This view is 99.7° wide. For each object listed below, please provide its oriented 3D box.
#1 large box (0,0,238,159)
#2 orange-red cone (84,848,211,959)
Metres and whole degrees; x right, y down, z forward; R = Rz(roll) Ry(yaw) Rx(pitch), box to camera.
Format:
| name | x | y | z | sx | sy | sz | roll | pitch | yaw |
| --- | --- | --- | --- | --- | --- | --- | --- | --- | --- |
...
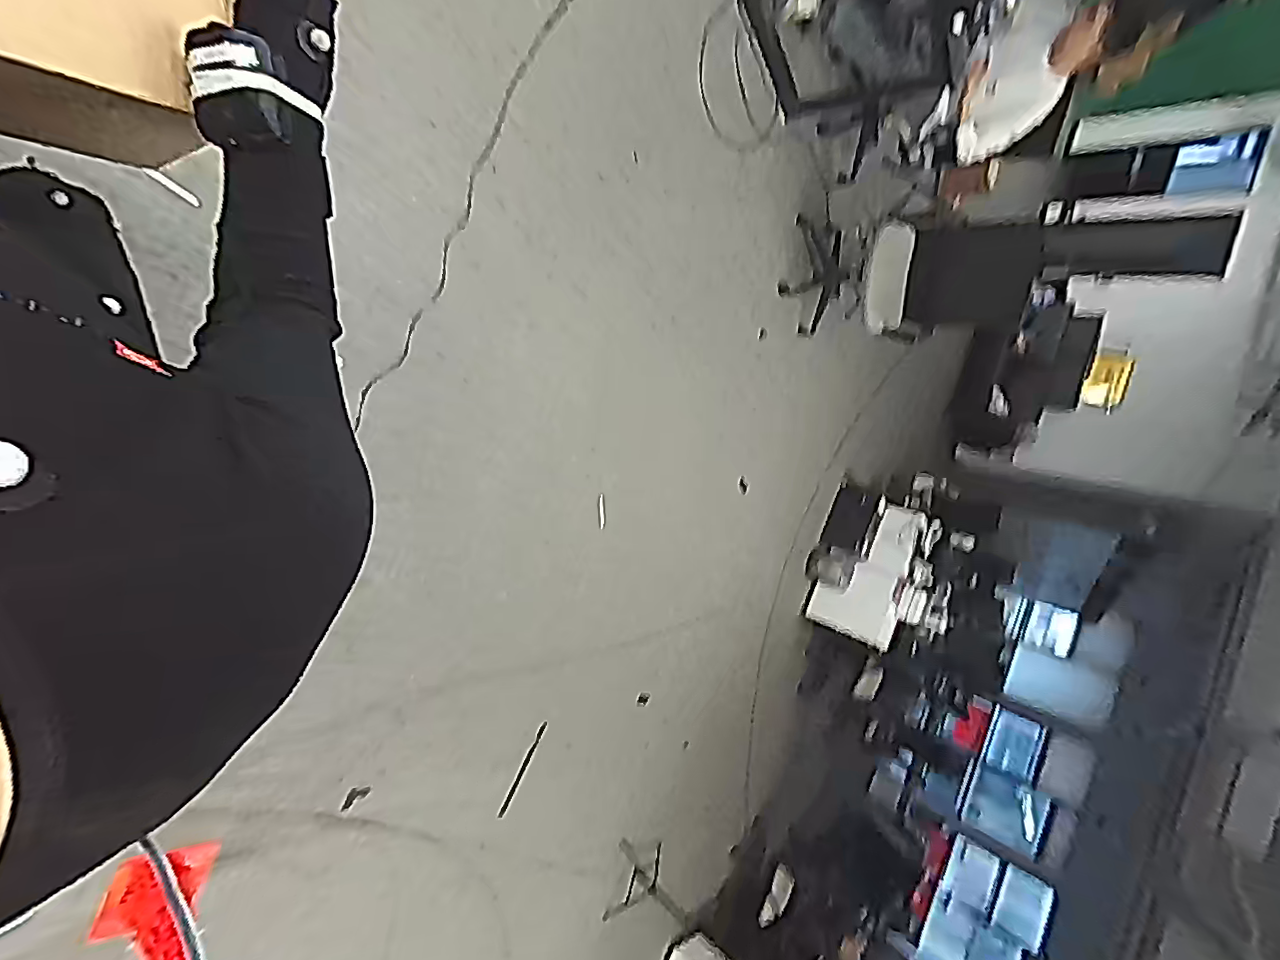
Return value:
| name | x | y | z | sx | sy | sz | roll | pitch | yaw |
| --- | --- | --- | --- | --- | --- | --- | --- | --- | --- |
| large box | -0.532 | -0.429 | 0.310 | 0.408 | 0.320 | 0.320 | -12 | 114 | -50 |
| orange-red cone | -1.086 | 1.065 | 1.237 | 0.198 | 0.360 | 0.199 | 31 | 78 | -51 |
